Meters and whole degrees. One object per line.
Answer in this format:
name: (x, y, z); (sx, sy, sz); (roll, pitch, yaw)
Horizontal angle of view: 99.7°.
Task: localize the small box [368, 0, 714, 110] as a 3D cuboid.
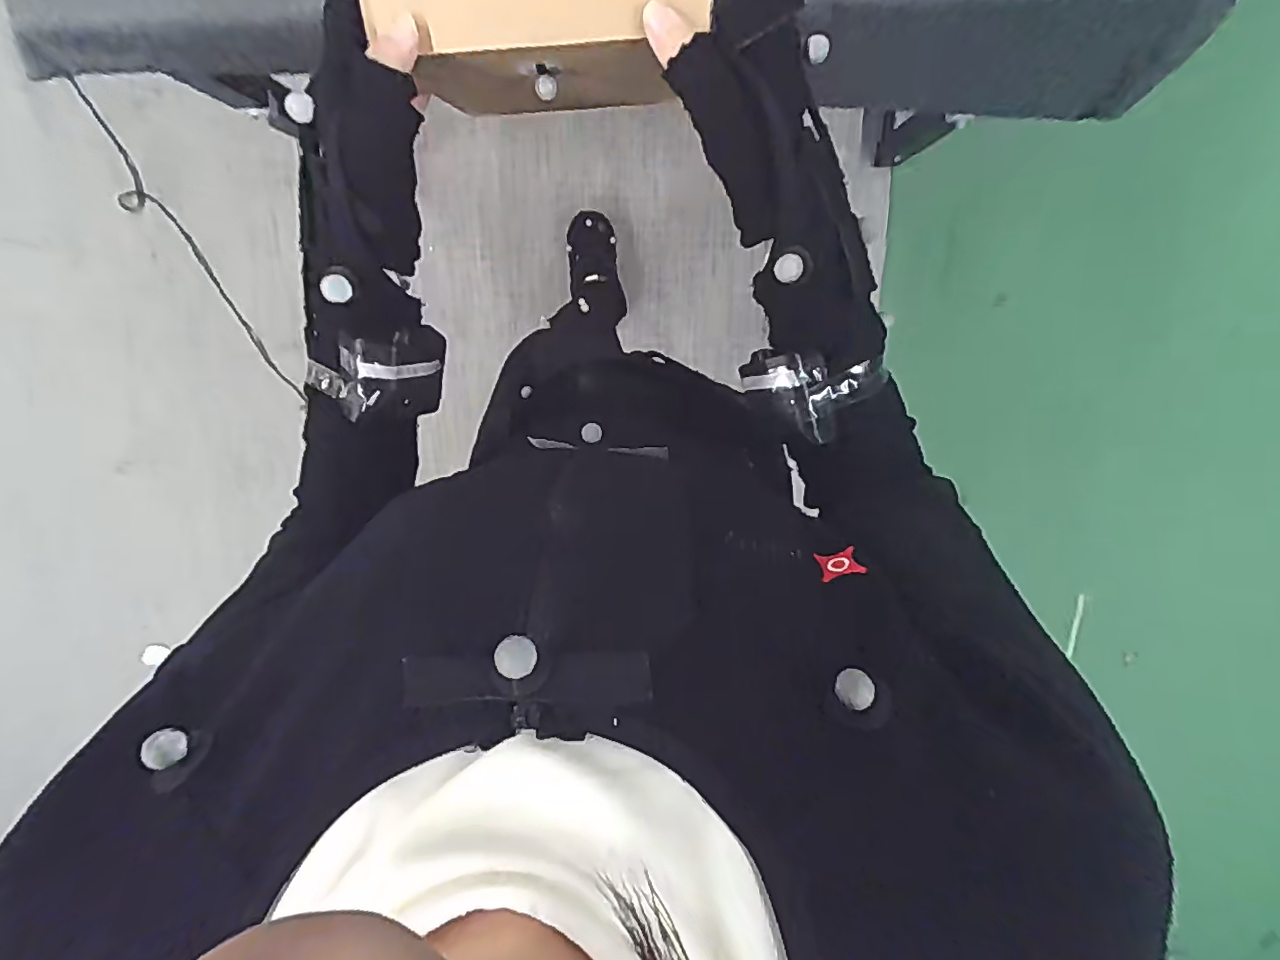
small box: (-0.052, -0.330, 0.313); (0.179, 0.176, 0.168); (-3, 116, 2)
